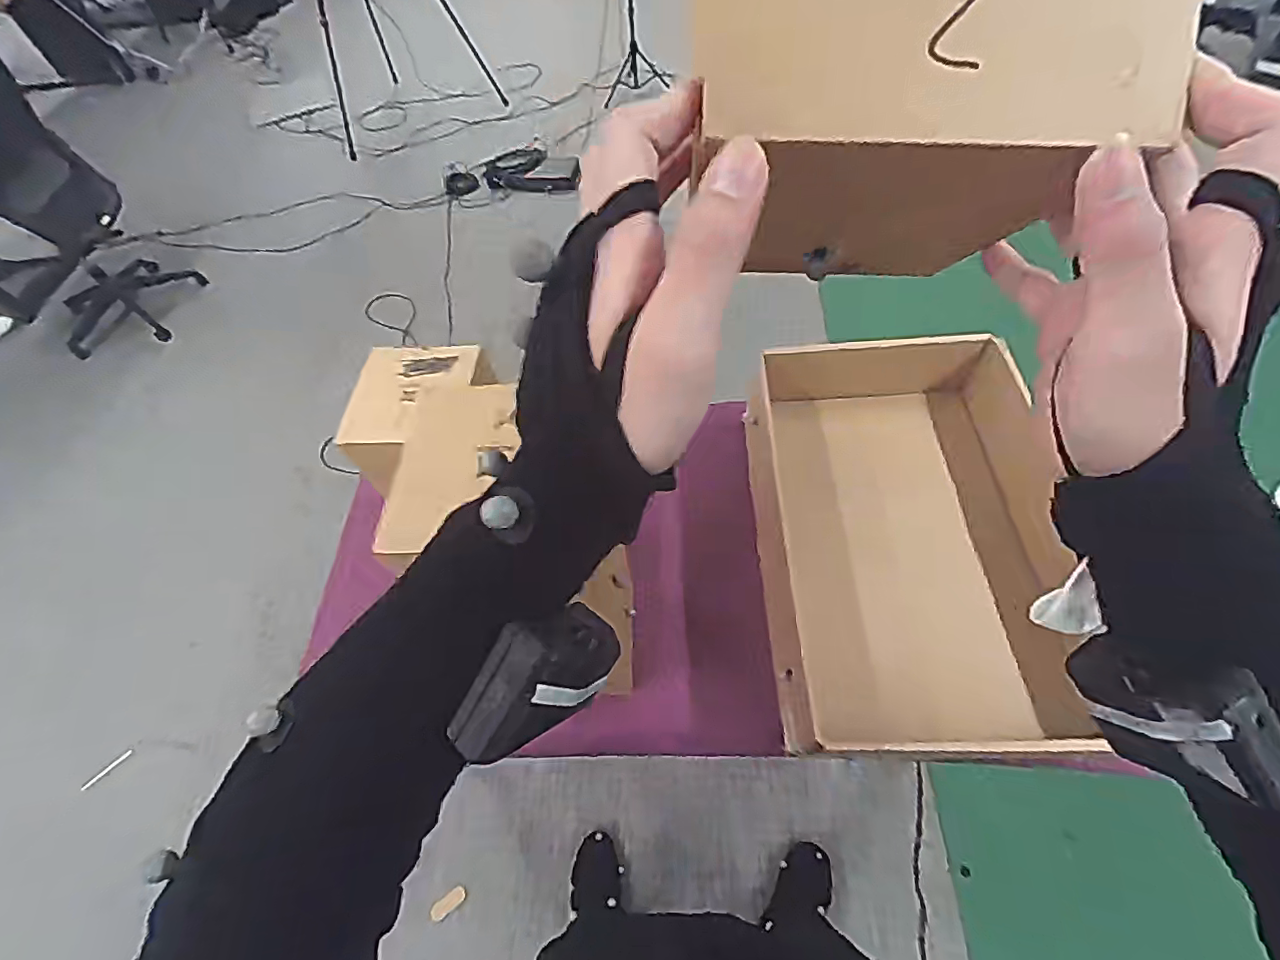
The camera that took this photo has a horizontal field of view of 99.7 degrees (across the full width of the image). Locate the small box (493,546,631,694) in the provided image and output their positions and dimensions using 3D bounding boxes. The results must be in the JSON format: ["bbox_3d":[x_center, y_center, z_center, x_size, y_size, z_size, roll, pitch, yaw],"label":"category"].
[{"bbox_3d":[-0.101,0.210,0.797,0.168,0.176,0.179,-1,56,3],"label":"small box"}]

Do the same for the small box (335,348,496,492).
[{"bbox_3d":[-0.305,-0.074,0.804,0.168,0.176,0.179,0,58,6],"label":"small box"}]

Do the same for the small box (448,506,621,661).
[{"bbox_3d":[-0.112,0.118,0.663,0.168,0.176,0.179,-1,57,3],"label":"small box"}]

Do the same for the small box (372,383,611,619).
[{"bbox_3d":[-0.120,0.027,0.524,0.168,0.176,0.179,0,56,3],"label":"small box"}]
